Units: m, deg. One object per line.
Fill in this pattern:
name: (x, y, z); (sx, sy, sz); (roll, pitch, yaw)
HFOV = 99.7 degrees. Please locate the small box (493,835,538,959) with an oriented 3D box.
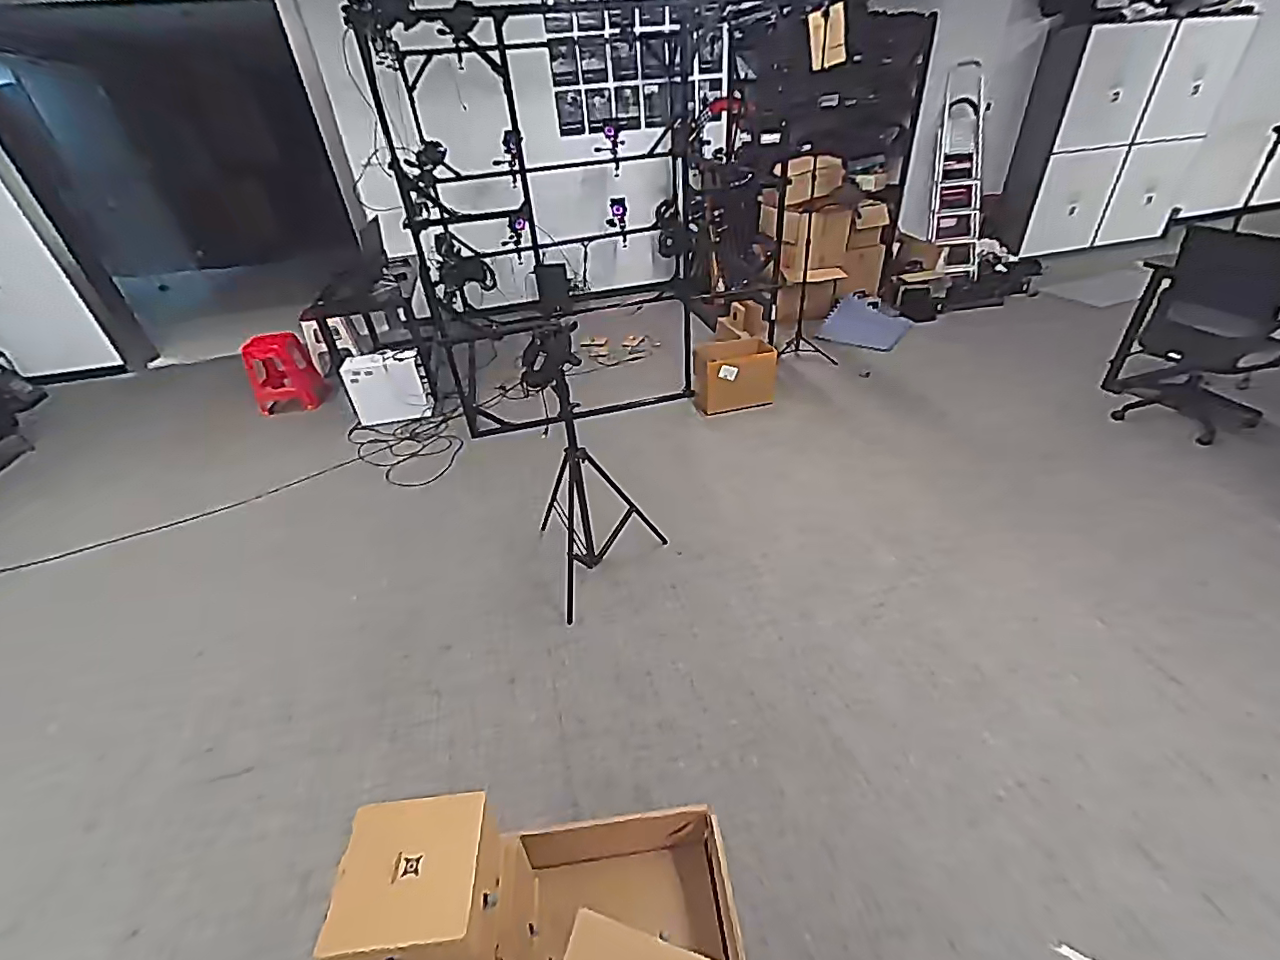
small box: (-0.250, 0.681, 0.817); (0.168, 0.176, 0.179); (-7, 34, -5)

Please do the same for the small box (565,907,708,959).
small box: (-0.012, 0.592, 0.577); (0.179, 0.176, 0.168); (16, 48, 9)

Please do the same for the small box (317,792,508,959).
small box: (-0.283, 0.549, 0.723); (0.179, 0.176, 0.168); (-6, 34, -3)
